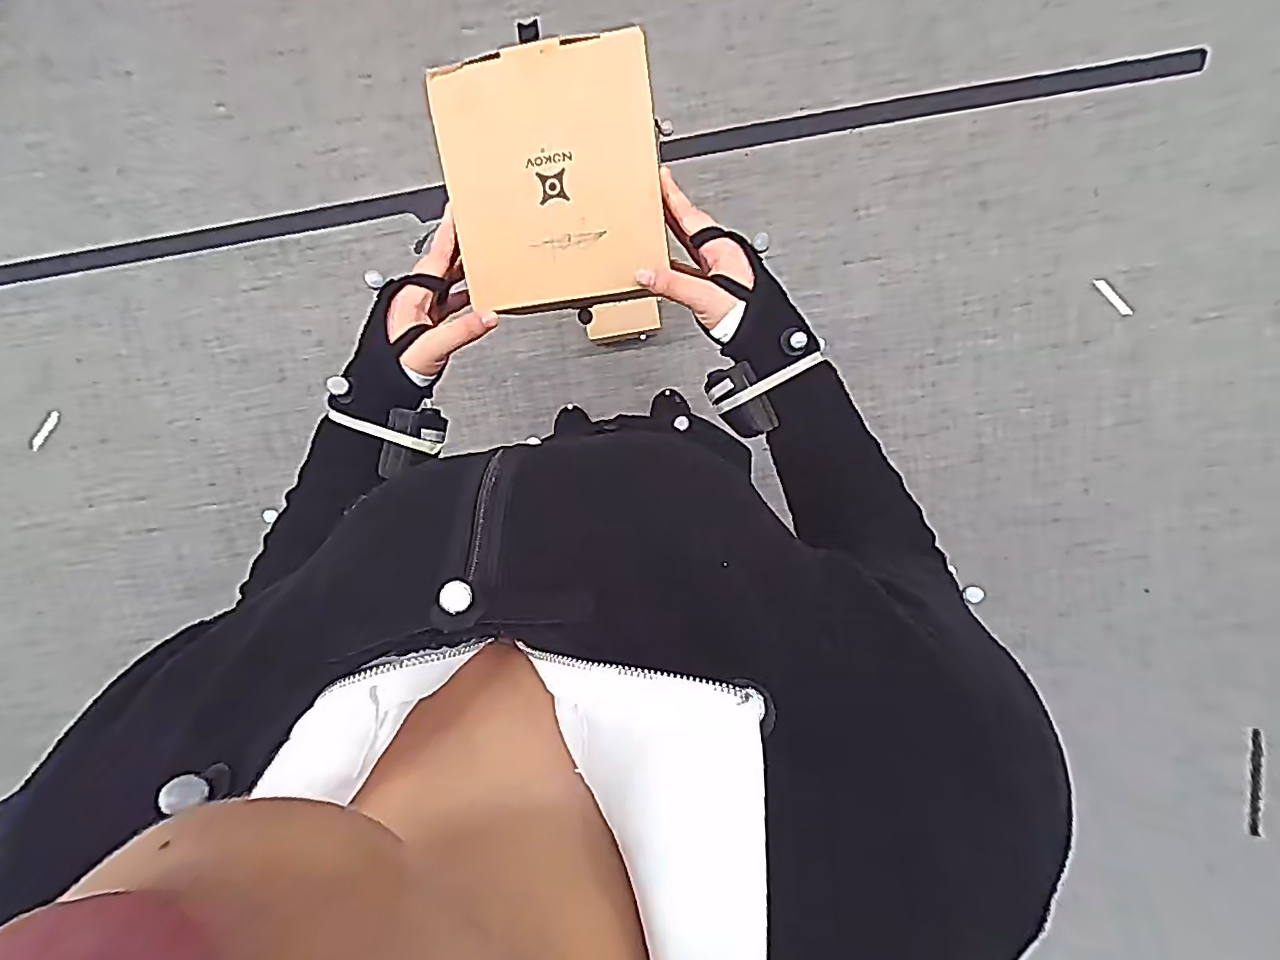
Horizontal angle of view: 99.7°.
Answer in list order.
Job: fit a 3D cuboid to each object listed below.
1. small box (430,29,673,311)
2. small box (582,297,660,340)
[{"bbox_3d":[-0.060,-0.253,0.490,0.168,0.176,0.179,-6,107,7],"label":"small box"},{"bbox_3d":[-0.051,-0.446,1.340,0.179,0.176,0.168,-9,100,2],"label":"small box"}]
